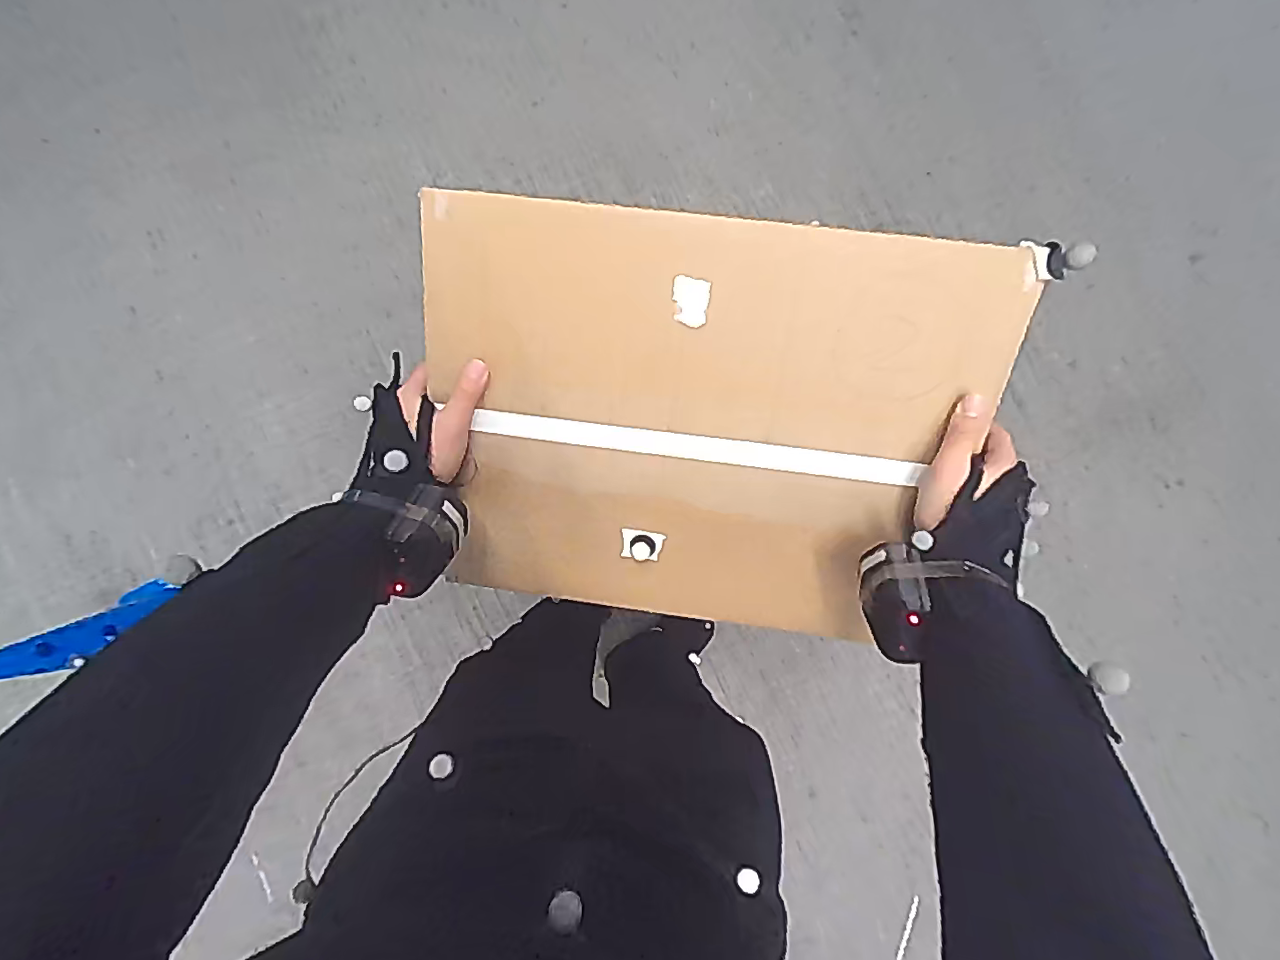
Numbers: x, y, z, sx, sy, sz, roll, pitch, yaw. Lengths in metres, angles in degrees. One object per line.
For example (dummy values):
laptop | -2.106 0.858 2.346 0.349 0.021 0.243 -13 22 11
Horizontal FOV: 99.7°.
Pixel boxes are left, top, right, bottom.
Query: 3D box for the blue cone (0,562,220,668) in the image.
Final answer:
blue cone | -1.036 0.290 1.028 0.193 0.380 0.192 -25 86 -1
